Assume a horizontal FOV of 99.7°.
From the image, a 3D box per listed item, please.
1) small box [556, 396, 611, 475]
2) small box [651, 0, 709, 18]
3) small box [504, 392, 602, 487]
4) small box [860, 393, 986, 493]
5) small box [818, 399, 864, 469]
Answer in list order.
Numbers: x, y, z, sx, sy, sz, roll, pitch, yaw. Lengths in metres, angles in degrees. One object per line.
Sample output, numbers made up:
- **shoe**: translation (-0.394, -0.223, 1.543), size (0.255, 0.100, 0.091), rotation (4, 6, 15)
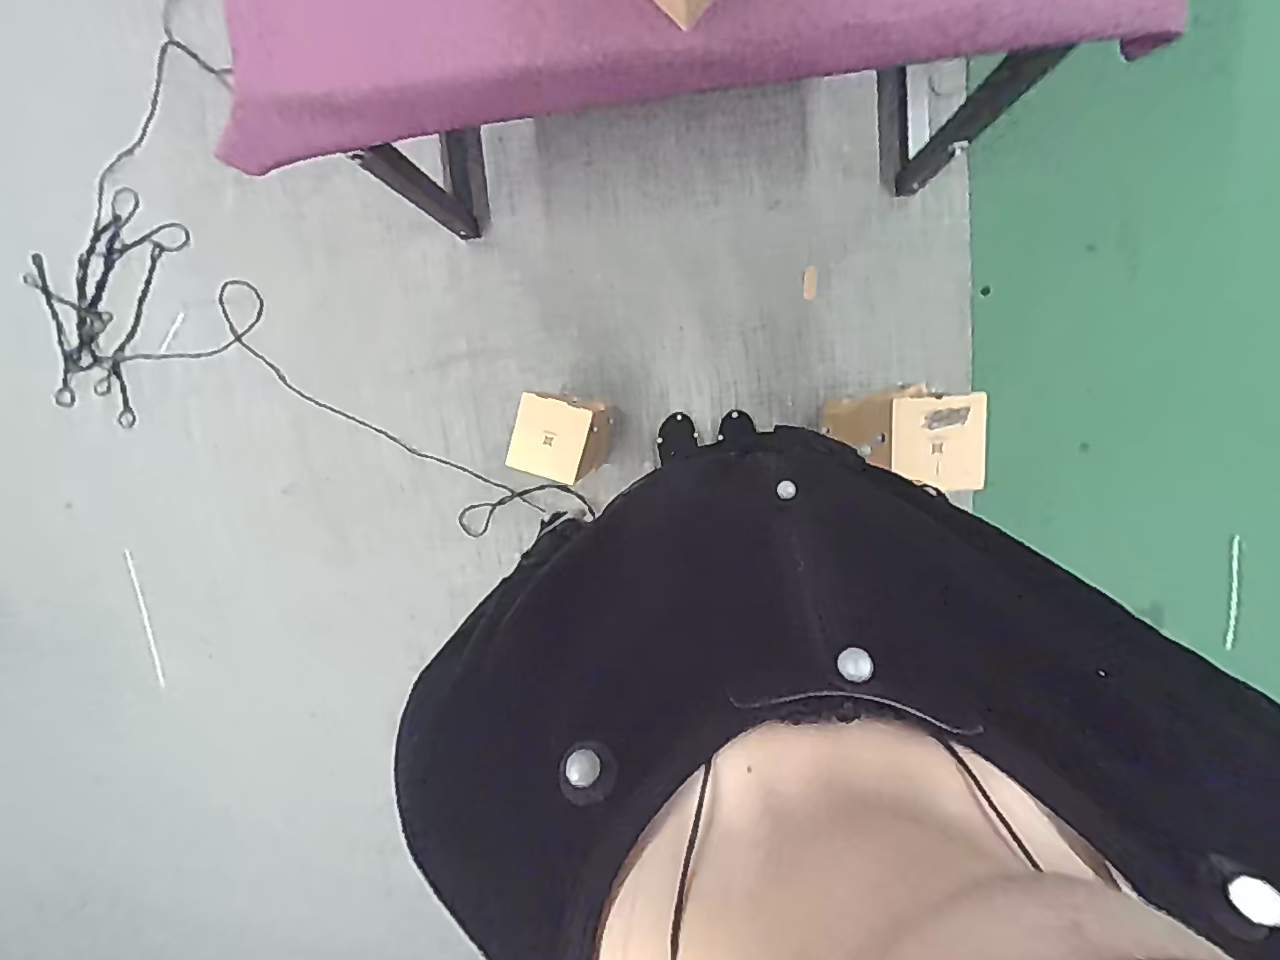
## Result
- **small box**: translation (-0.177, -0.124, 1.432), size (0.168, 0.176, 0.179), rotation (11, 99, 3)
- **small box**: translation (0.047, -0.674, 0.598), size (0.179, 0.176, 0.168), rotation (45, 98, -2)
- **small box**: translation (-0.198, -0.099, 1.274), size (0.168, 0.176, 0.179), rotation (17, 99, 3)
- **small box**: translation (0.537, -0.075, 1.048), size (0.168, 0.176, 0.179), rotation (-2, 99, 4)
- **small box**: translation (0.564, -0.114, 1.374), size (0.179, 0.176, 0.168), rotation (6, 99, 4)
